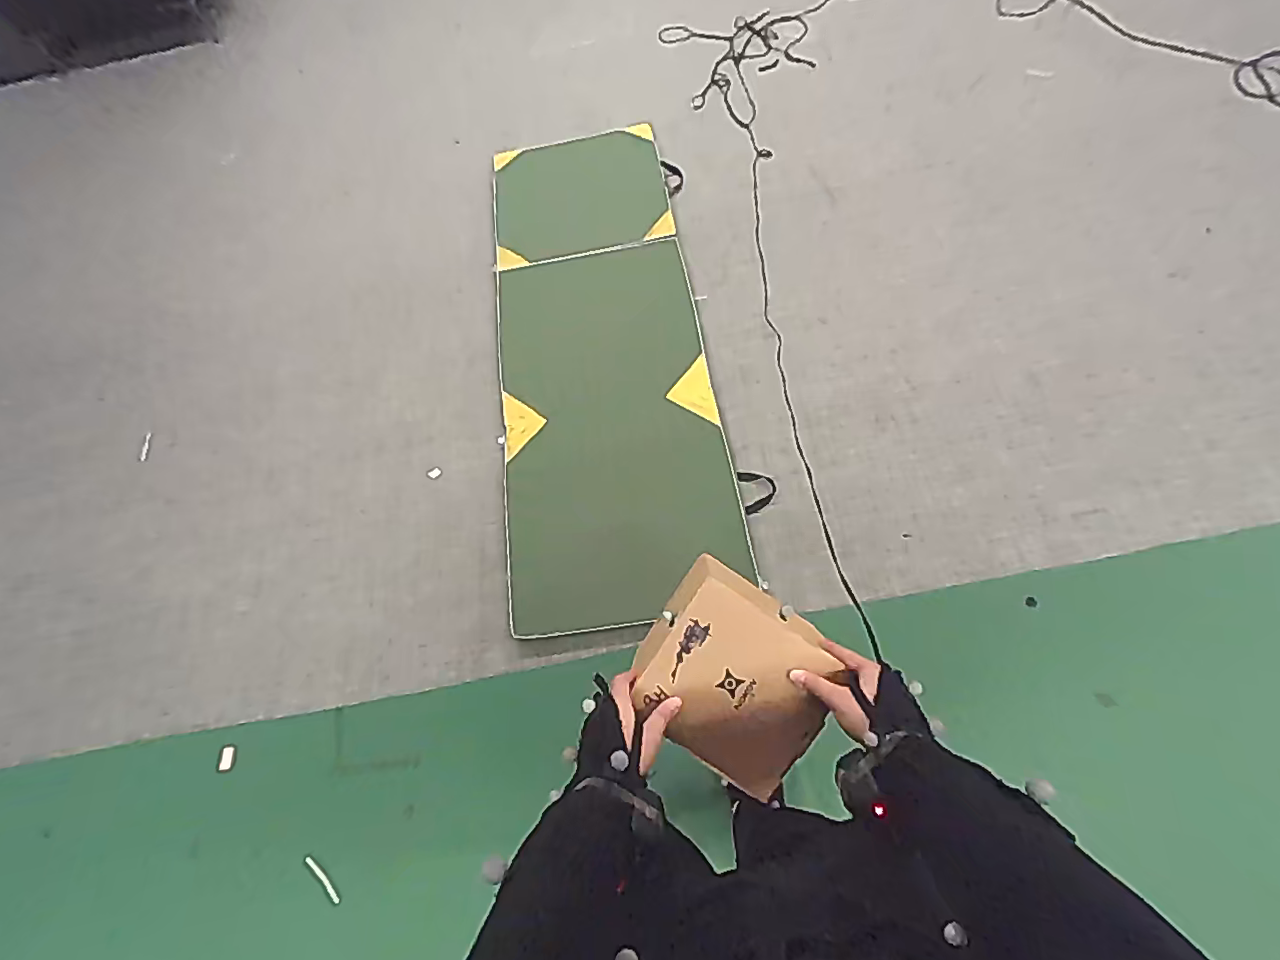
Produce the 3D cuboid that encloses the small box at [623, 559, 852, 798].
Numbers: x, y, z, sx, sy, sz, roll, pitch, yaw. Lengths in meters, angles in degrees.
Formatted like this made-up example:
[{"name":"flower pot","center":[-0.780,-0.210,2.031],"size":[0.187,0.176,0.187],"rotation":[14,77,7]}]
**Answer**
[{"name":"small box","center":[0.103,0.208,0.626],"size":[0.179,0.176,0.168],"rotation":[35,91,4]}]
